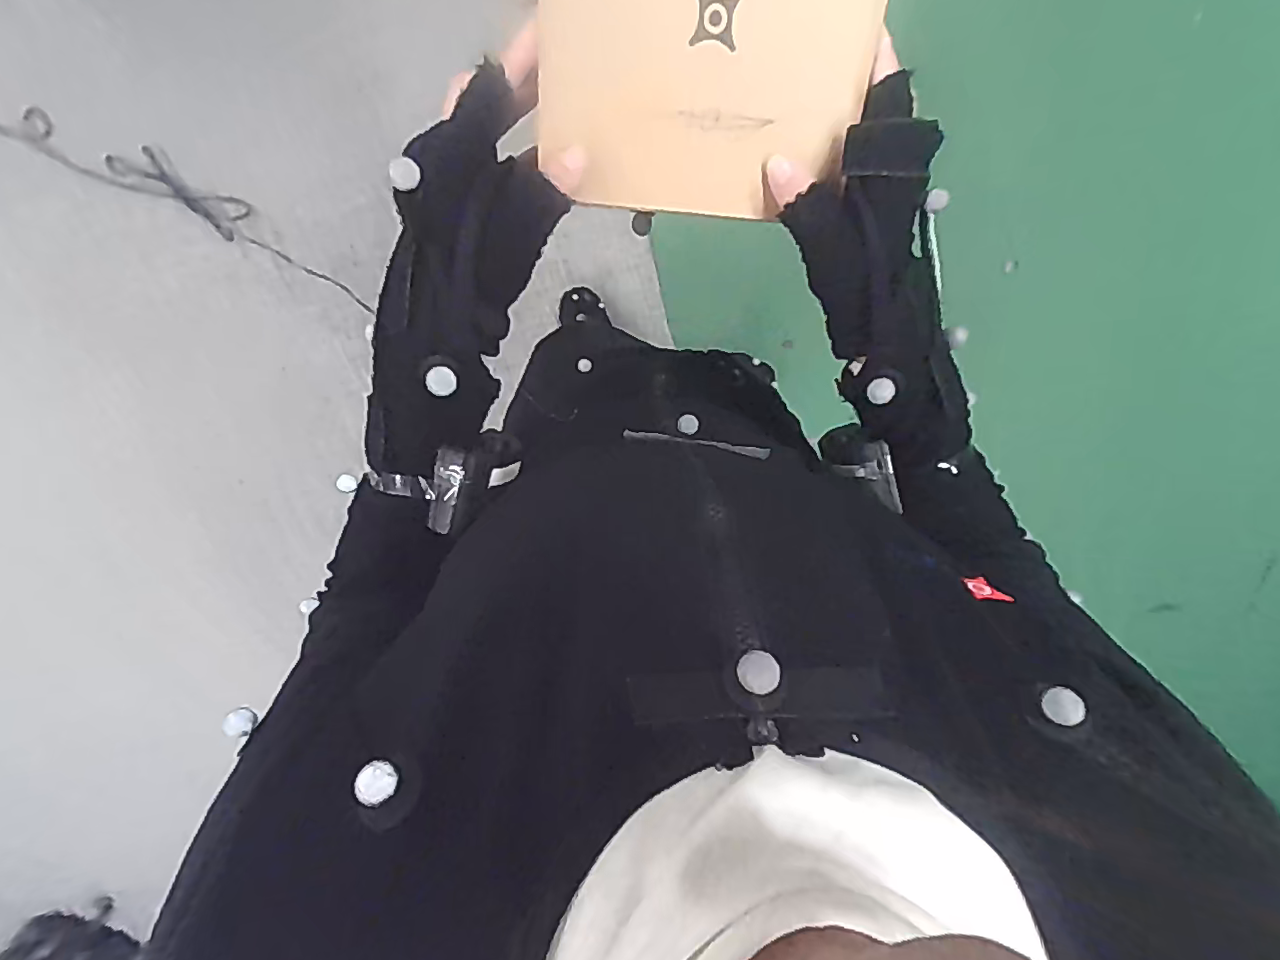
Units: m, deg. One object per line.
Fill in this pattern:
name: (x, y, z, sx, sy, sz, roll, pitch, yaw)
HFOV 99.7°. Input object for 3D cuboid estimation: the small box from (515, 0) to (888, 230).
small box: (0.021, -0.247, 0.304, 0.168, 0.176, 0.179, 2, 118, -7)
